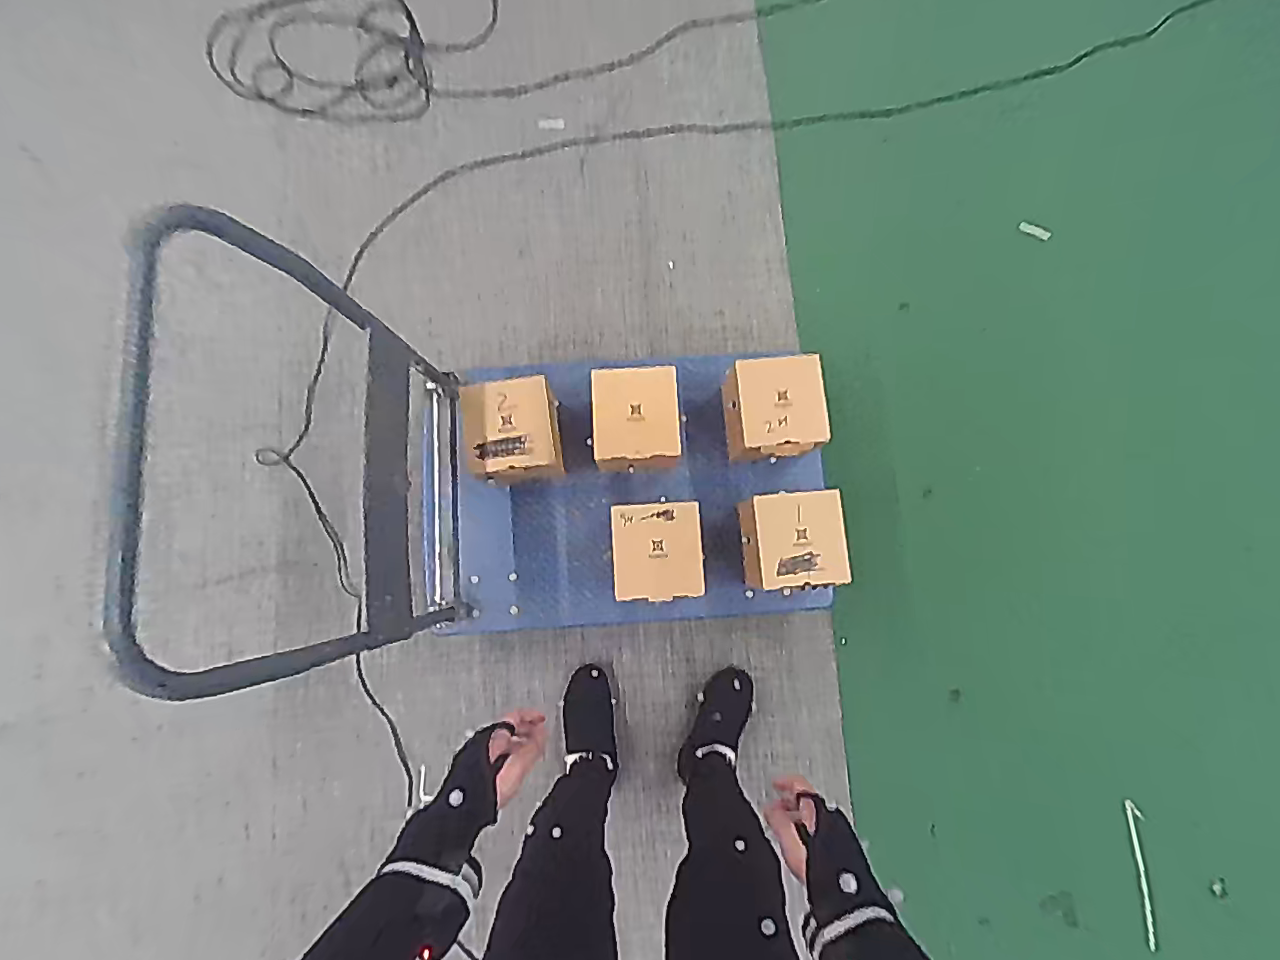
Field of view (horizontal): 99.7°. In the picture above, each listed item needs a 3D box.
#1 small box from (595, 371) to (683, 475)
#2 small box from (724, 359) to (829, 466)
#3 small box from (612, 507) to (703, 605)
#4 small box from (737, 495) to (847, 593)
[{"bbox_3d":[-0.007,-0.112,1.110,0.168,0.176,0.179,-3,83,-2],"label":"small box"},{"bbox_3d":[0.272,-0.133,1.115,0.168,0.176,0.179,-4,82,-1],"label":"small box"},{"bbox_3d":[0.031,0.147,1.071,0.168,0.176,0.179,-2,82,-2],"label":"small box"},{"bbox_3d":[0.299,0.130,1.095,0.168,0.176,0.179,-4,81,-2],"label":"small box"}]
